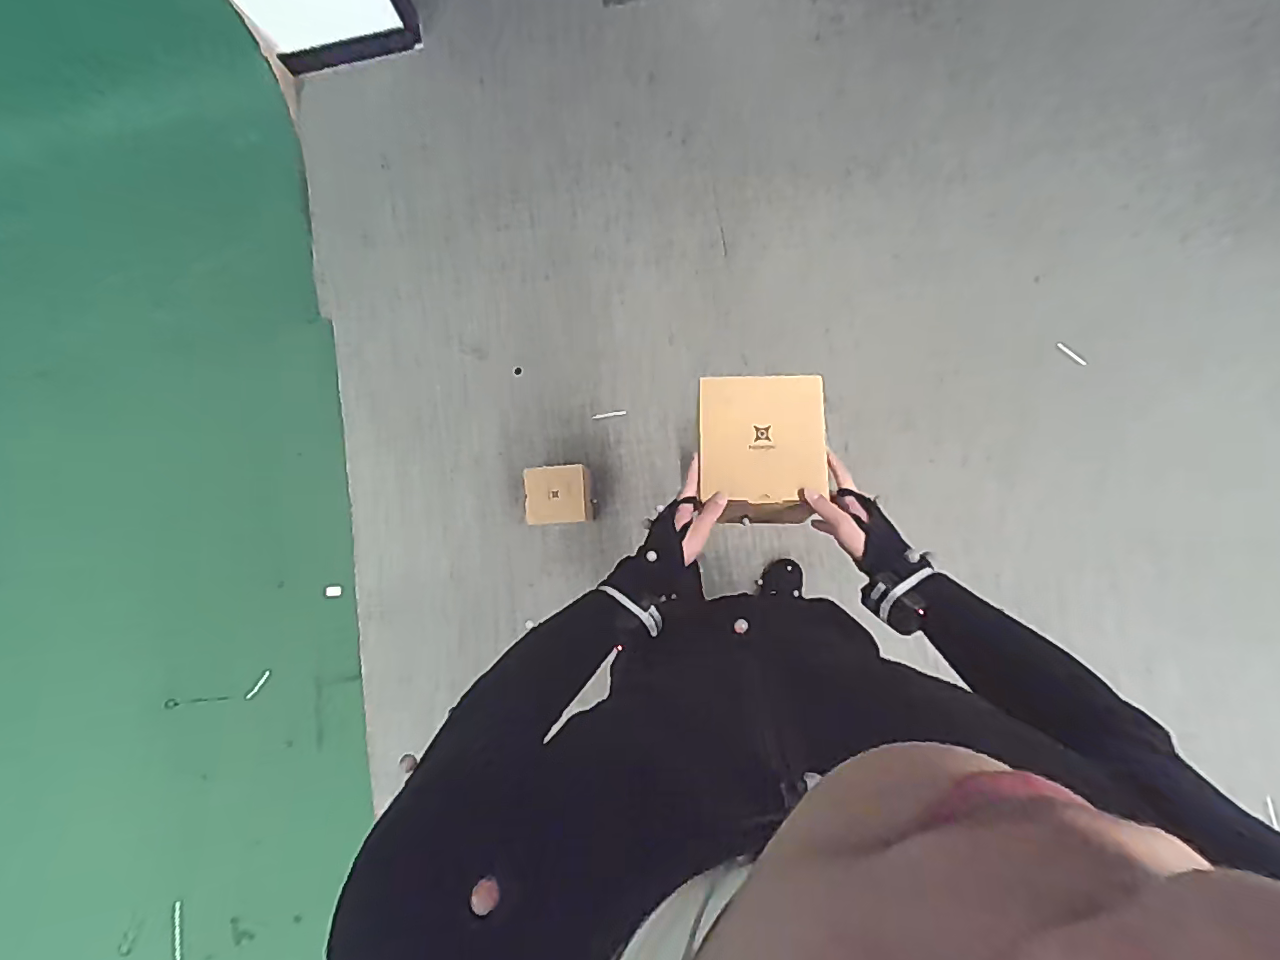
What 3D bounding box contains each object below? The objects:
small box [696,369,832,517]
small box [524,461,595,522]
[{"bbox_3d":[0.167,-0.046,0.781,0.168,0.176,0.179,-1,78,4],"label":"small box"},{"bbox_3d":[-0.234,0.037,1.607,0.179,0.176,0.168,-4,85,4],"label":"small box"}]
